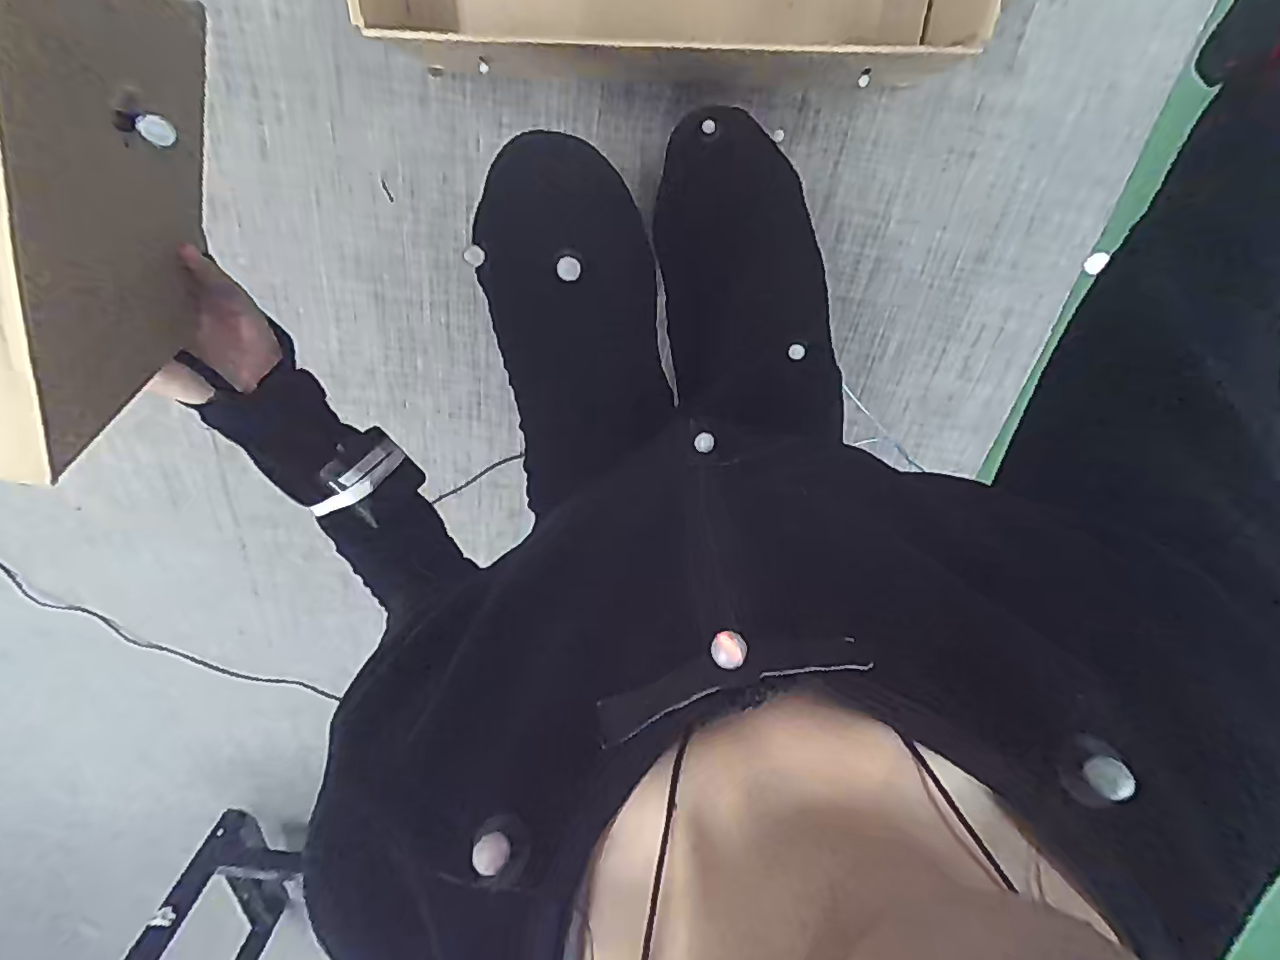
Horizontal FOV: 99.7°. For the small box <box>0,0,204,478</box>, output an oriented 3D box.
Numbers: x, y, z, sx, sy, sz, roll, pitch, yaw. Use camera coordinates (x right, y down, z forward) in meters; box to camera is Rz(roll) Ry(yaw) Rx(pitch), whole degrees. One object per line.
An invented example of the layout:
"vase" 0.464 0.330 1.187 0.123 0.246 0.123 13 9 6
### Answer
"small box" -0.301 -0.131 0.212 0.168 0.176 0.179 13 123 -26
